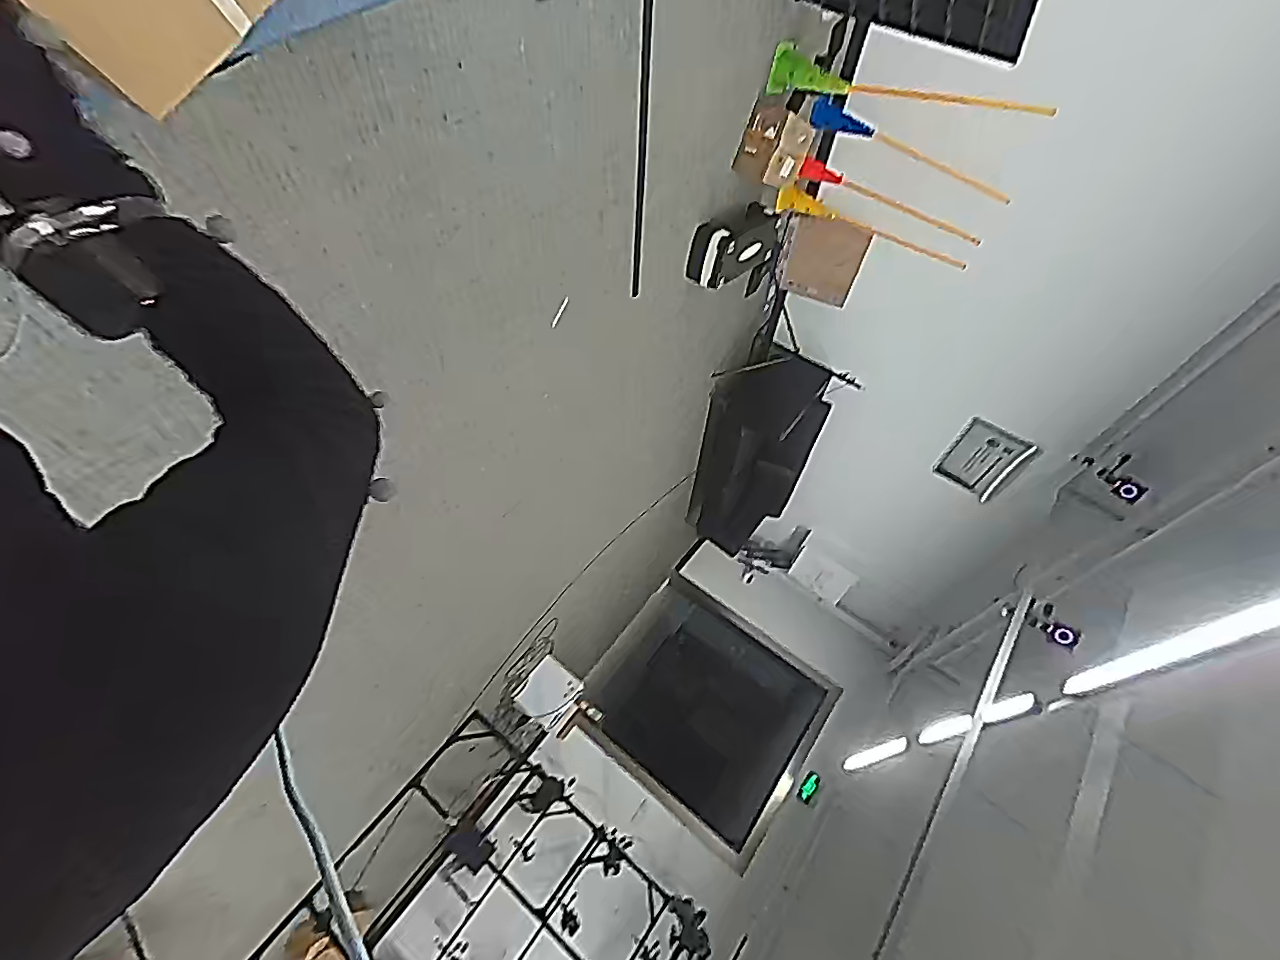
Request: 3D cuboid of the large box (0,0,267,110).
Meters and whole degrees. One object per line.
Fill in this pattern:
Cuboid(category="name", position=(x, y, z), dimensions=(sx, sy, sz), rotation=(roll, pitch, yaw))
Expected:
Cuboid(category="large box", position=(-0.640, -0.686, 0.513), dimensions=(0.320, 0.320, 0.408), rotation=(-54, 163, -7))
